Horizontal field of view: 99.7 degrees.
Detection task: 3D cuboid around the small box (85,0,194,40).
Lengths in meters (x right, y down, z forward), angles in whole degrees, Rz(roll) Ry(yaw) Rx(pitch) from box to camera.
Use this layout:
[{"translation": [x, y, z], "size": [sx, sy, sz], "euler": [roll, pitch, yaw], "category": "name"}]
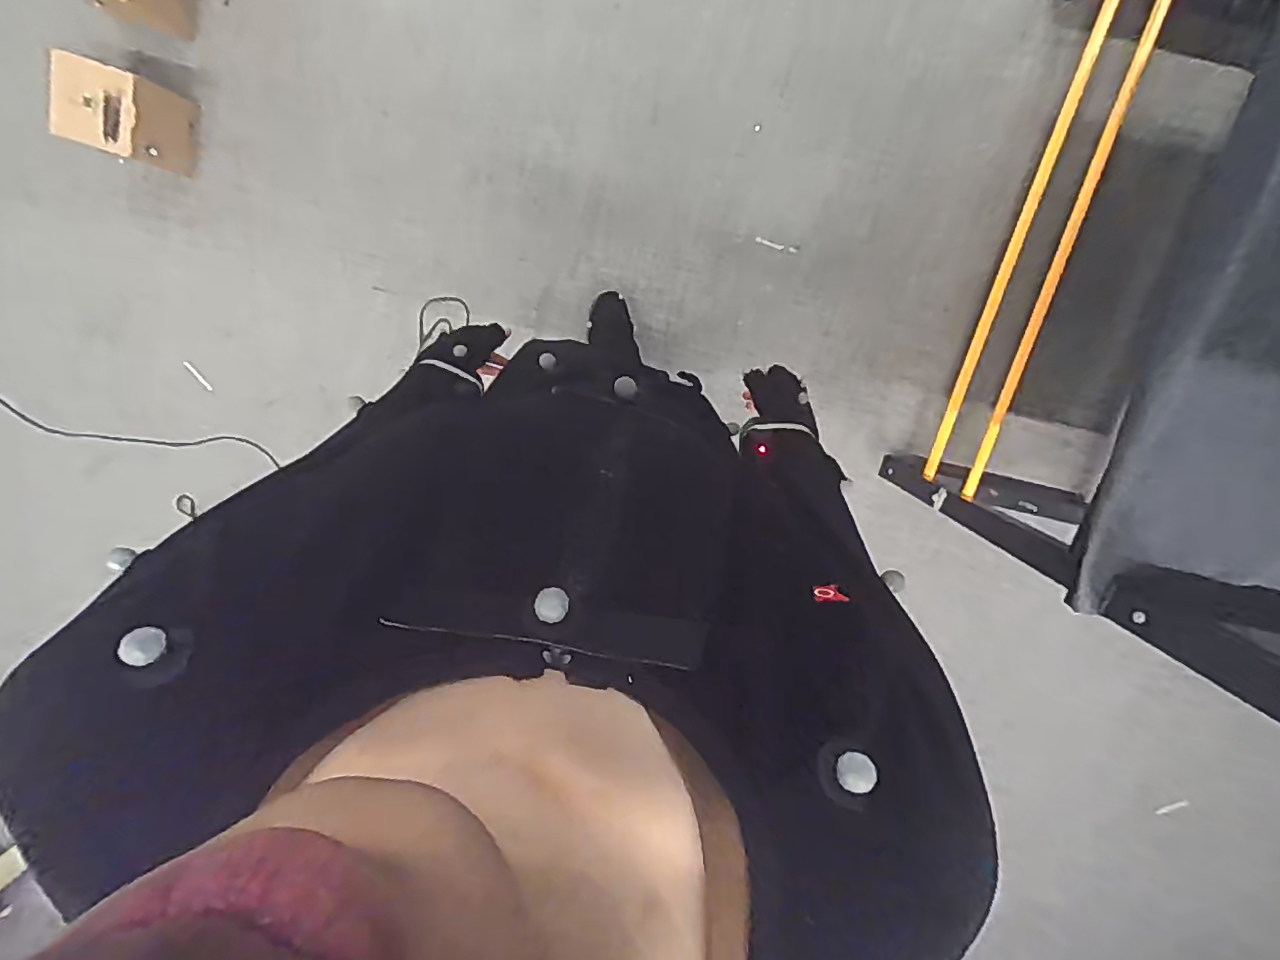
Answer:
[{"translation": [-1.094, -1.081, 1.141], "size": [0.179, 0.176, 0.168], "euler": [14, 105, -3], "category": "small box"}]
